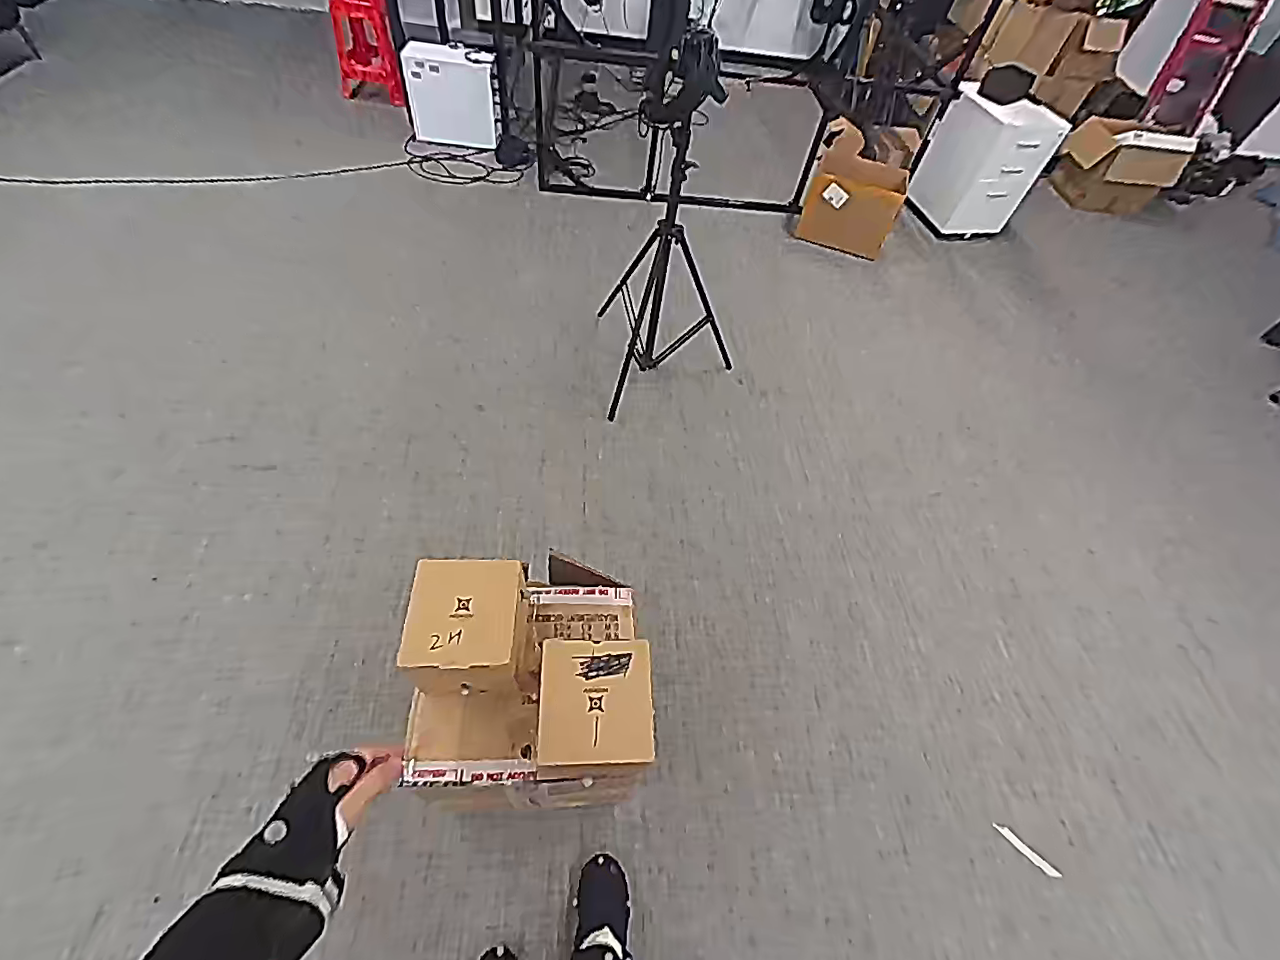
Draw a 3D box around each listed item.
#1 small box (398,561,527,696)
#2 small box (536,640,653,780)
[{"bbox_3d":[-0.284,0.253,0.911,0.168,0.176,0.179,1,56,-5],"label":"small box"},{"bbox_3d":[-0.076,0.368,0.860,0.168,0.176,0.179,2,56,-8],"label":"small box"}]
